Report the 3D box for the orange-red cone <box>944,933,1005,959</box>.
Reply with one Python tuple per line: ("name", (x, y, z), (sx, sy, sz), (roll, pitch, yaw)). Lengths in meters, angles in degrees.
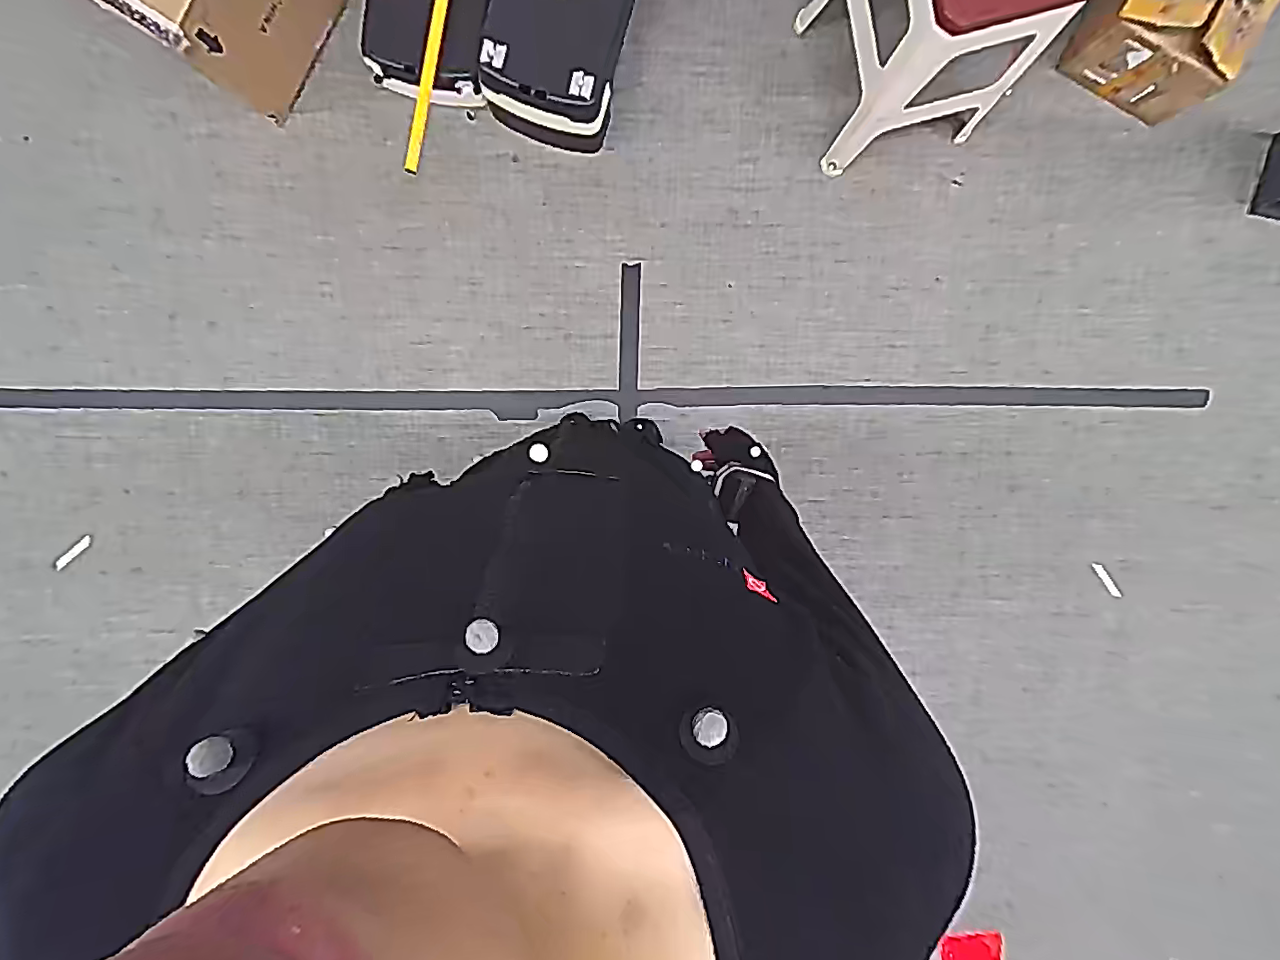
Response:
("orange-red cone", (1.069, 1.555, 1.550), (0.198, 0.360, 0.199), (-4, 97, -1))
